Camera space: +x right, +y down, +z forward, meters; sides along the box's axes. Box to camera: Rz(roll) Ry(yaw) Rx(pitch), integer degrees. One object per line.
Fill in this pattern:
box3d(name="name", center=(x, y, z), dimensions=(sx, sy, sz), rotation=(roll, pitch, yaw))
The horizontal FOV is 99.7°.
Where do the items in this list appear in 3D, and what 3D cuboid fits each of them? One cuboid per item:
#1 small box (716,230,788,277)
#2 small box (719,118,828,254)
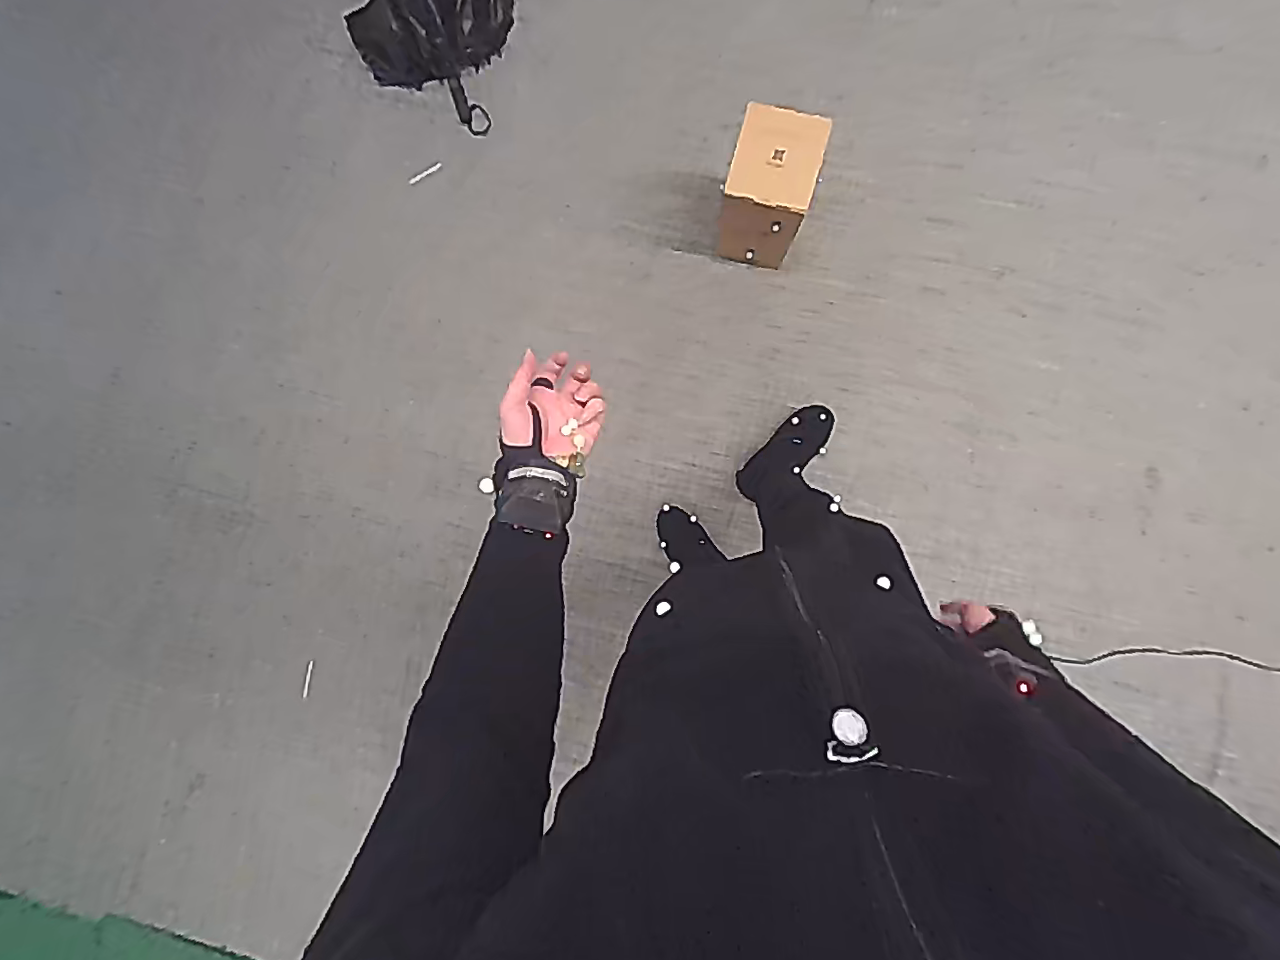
box3d(name="small box", center=(0.279, -0.601, 1.276), dimensions=(0.168, 0.176, 0.179), rotation=(15, 95, 4))
box3d(name="small box", center=(0.264, -0.592, 1.114), dimensions=(0.168, 0.176, 0.179), rotation=(15, 93, 3))
